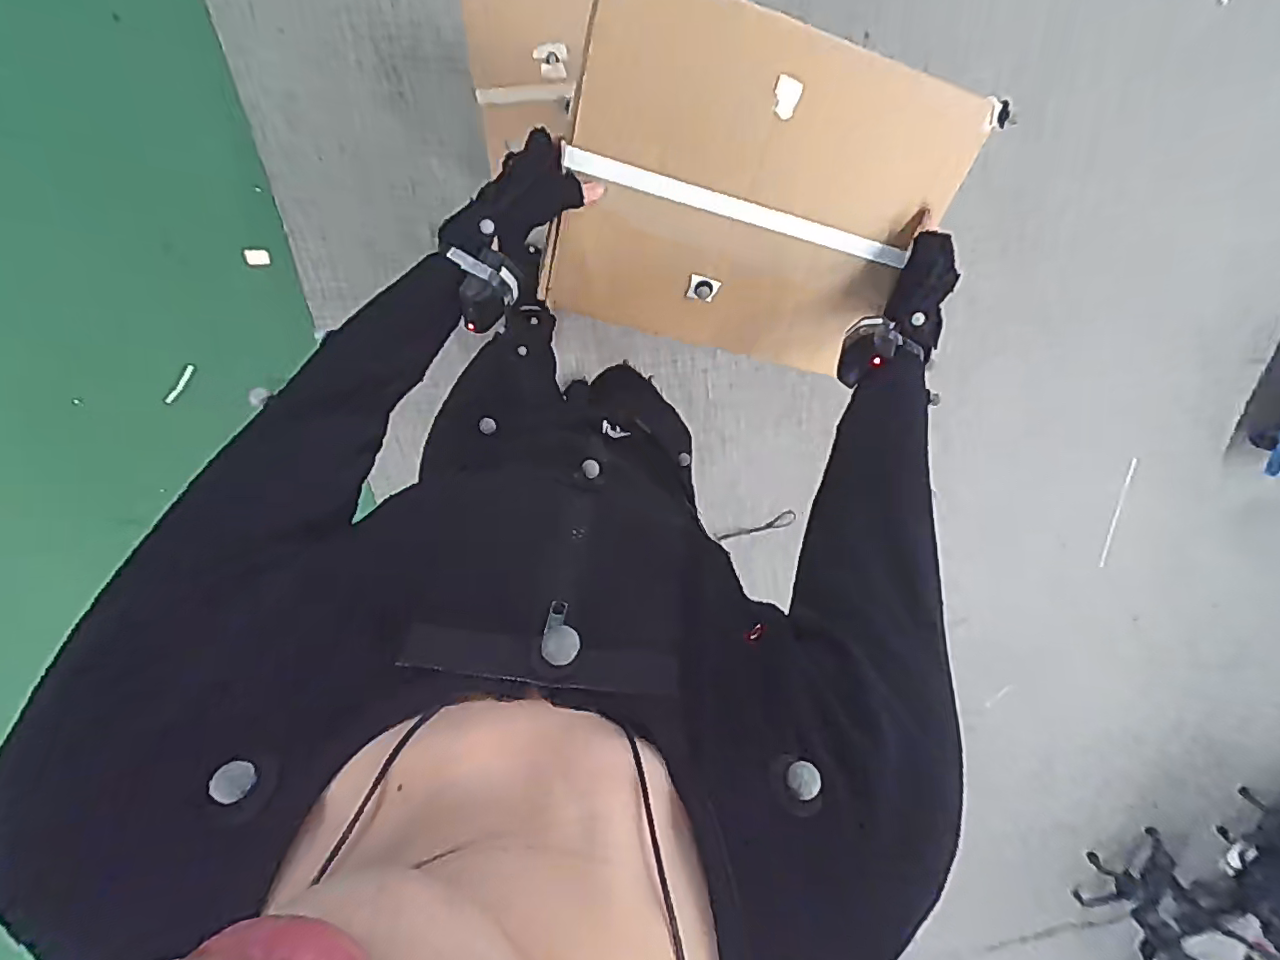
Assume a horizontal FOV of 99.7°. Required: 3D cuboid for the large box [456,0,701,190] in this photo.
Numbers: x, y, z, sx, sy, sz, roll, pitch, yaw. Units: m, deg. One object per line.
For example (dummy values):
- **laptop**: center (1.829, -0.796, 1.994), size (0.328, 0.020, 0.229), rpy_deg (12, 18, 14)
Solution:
- **large box**: center (-0.114, -0.764, 1.068), size (0.408, 0.320, 0.320), rpy_deg (-8, 117, -7)
